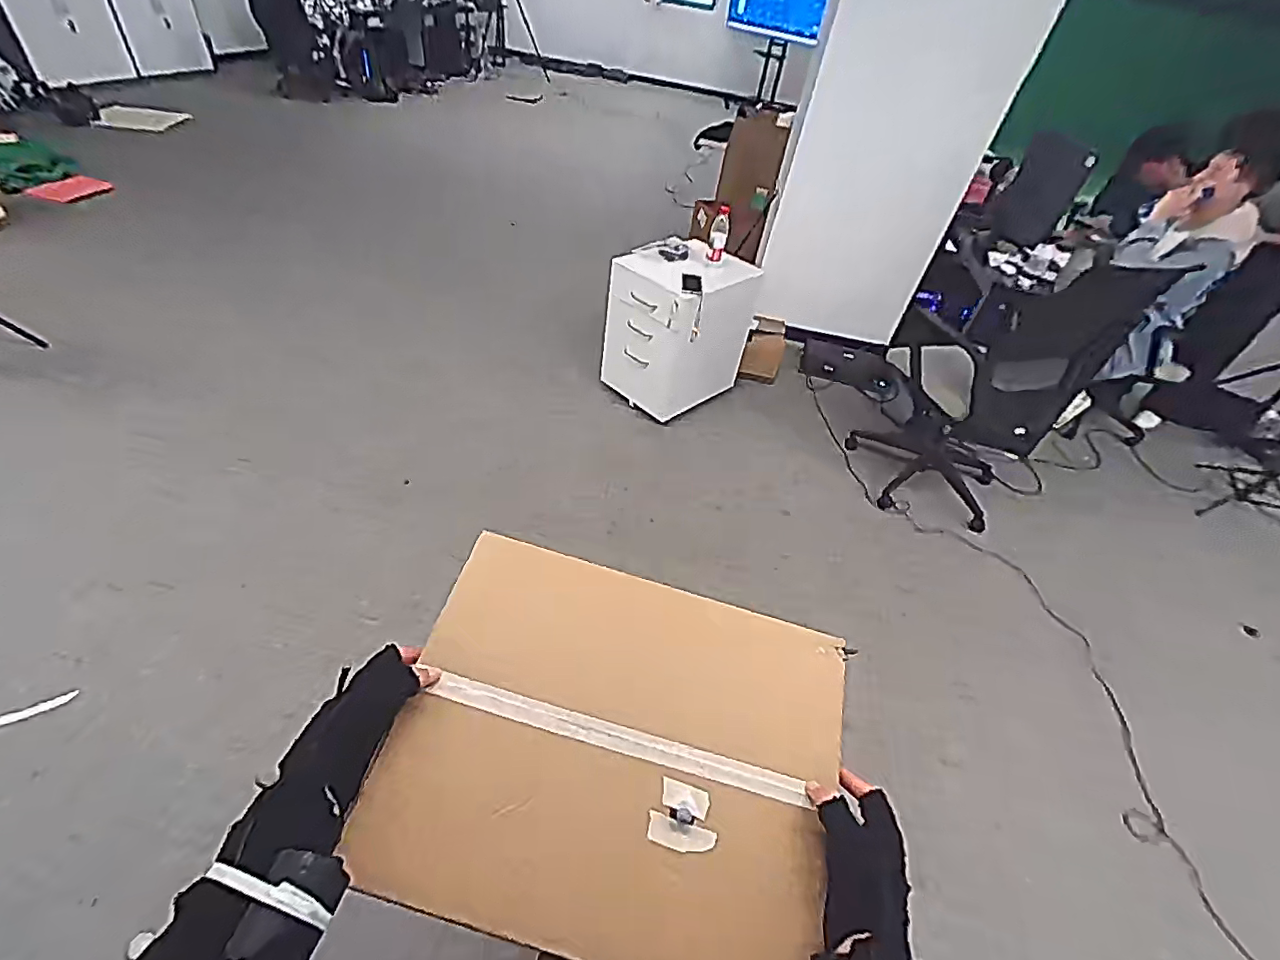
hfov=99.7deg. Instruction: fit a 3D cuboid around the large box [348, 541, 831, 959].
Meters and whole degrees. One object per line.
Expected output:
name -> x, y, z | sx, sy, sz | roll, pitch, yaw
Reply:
large box -> -0.037, 0.318, 0.639 | 0.408, 0.320, 0.320 | 16, 58, 1
